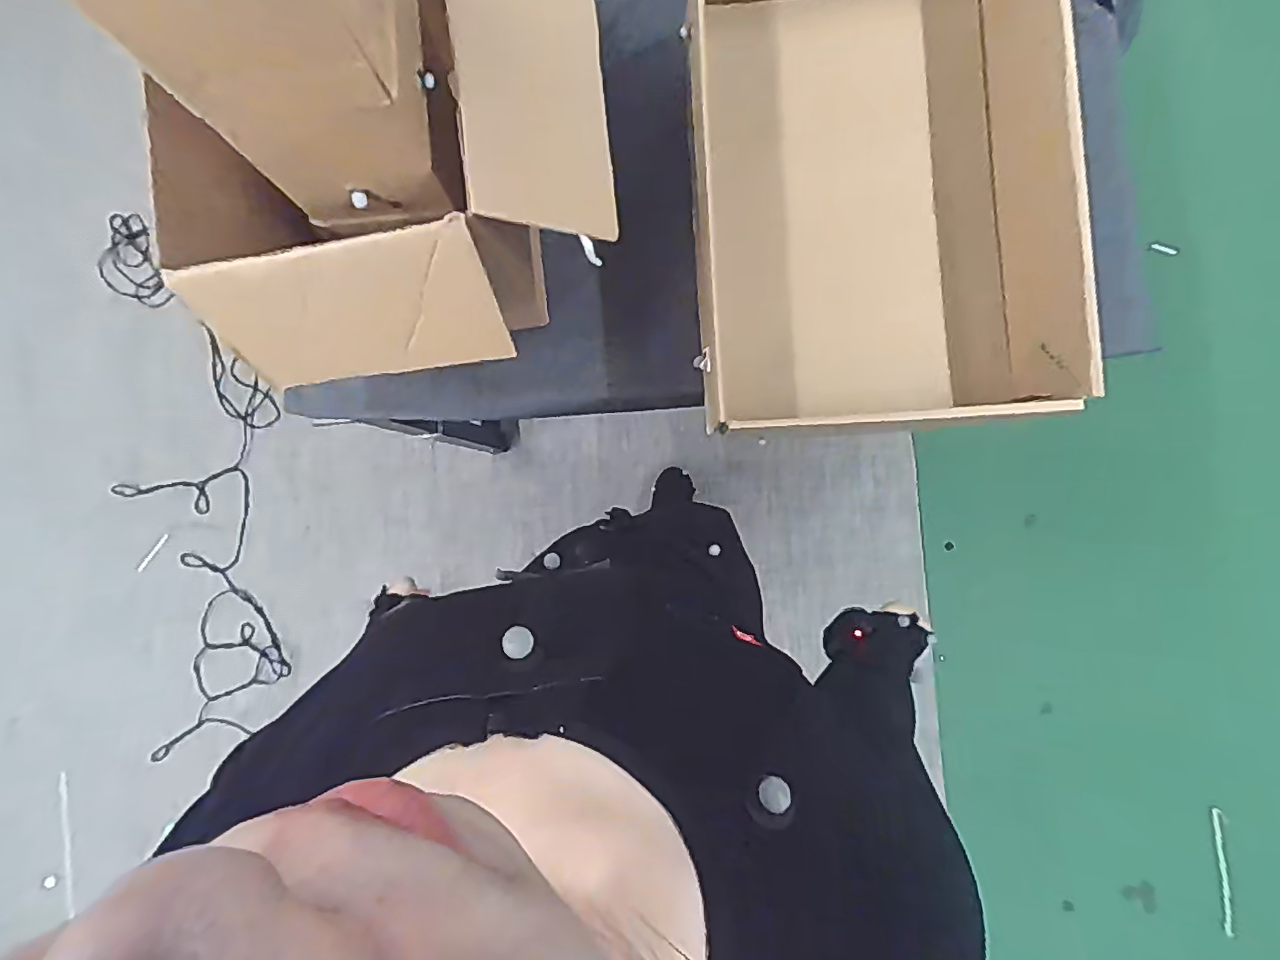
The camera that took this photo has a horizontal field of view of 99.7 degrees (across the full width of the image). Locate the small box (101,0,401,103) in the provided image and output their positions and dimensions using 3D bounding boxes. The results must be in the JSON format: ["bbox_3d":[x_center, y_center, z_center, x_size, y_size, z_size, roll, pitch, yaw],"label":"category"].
[{"bbox_3d":[-0.296,-0.408,0.388,0.179,0.176,0.168,-4,87,-1],"label":"small box"}]
